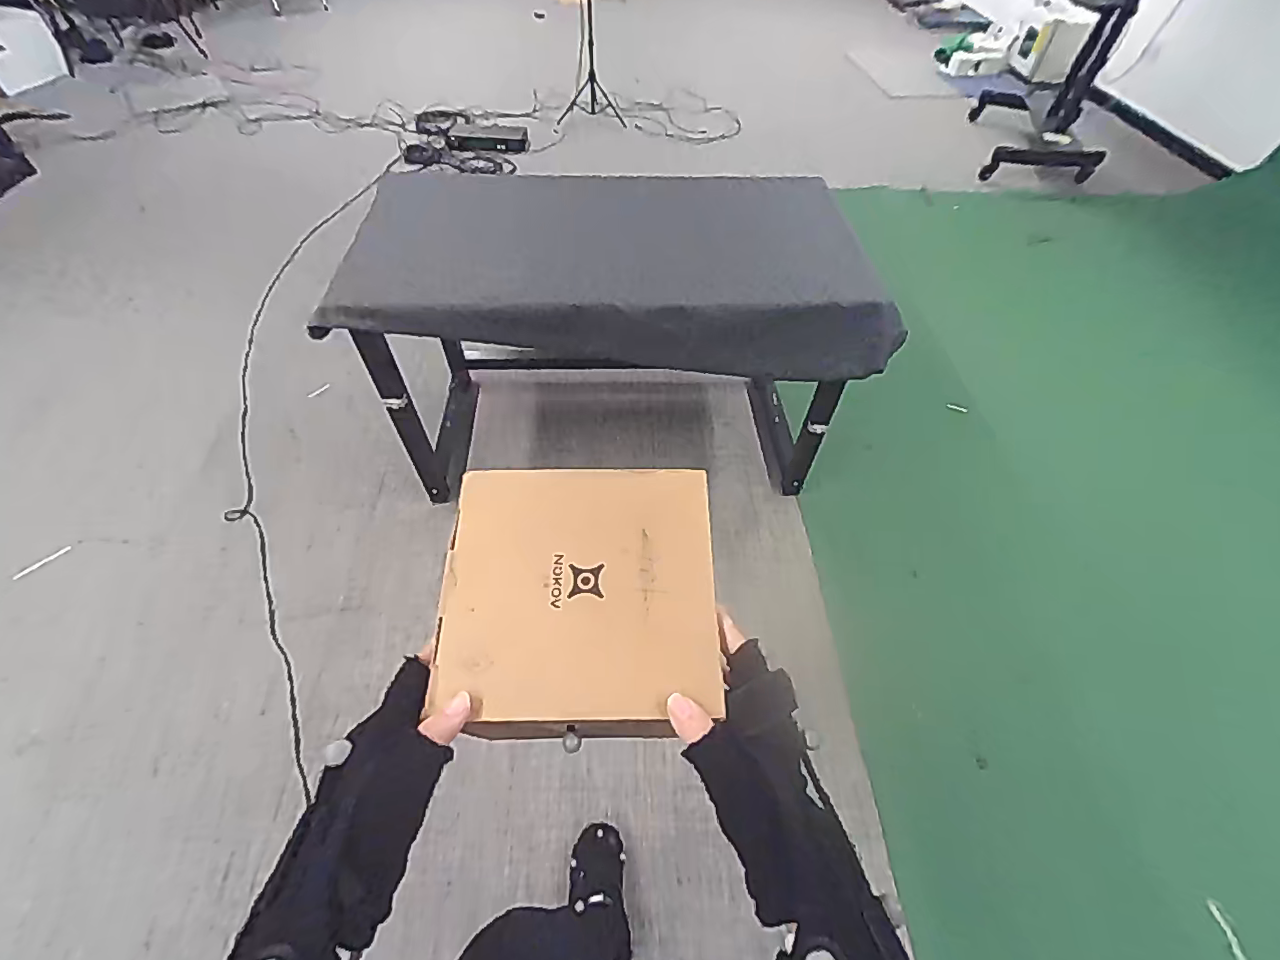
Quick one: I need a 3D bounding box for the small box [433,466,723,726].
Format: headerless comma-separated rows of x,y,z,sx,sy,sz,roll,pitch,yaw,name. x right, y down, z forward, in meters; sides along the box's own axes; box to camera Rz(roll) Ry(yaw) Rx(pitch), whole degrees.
-0.040,0.100,0.427,0.179,0.176,0.168,0,63,-3,small box
